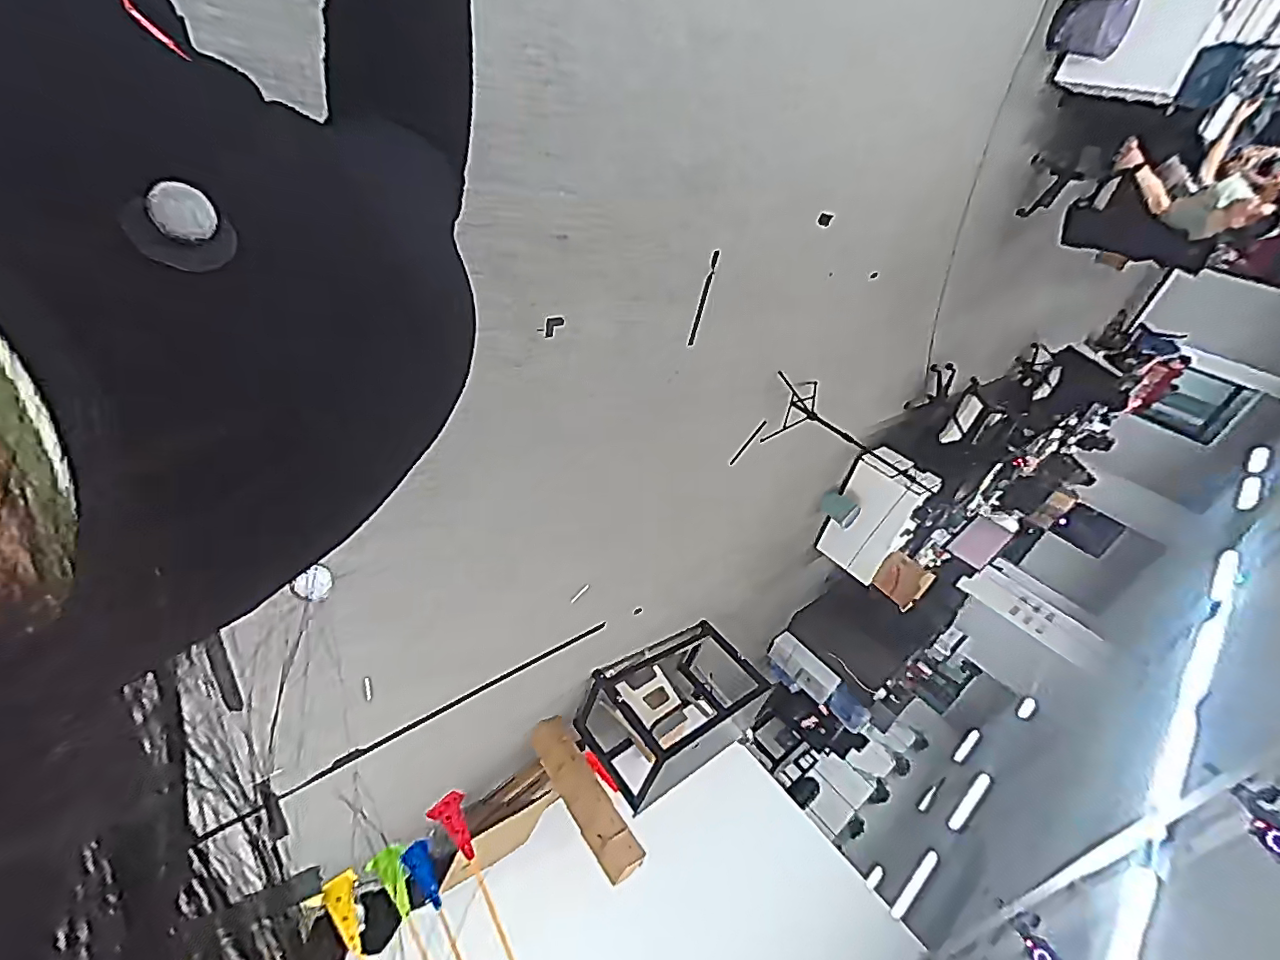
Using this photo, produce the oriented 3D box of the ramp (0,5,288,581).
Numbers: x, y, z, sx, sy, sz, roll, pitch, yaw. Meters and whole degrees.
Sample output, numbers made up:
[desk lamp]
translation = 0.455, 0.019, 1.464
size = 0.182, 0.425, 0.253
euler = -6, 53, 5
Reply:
[ramp]
translation = -1.071, -0.292, 1.047
size = 0.509, 0.206, 0.991
euler = -20, 136, -37
